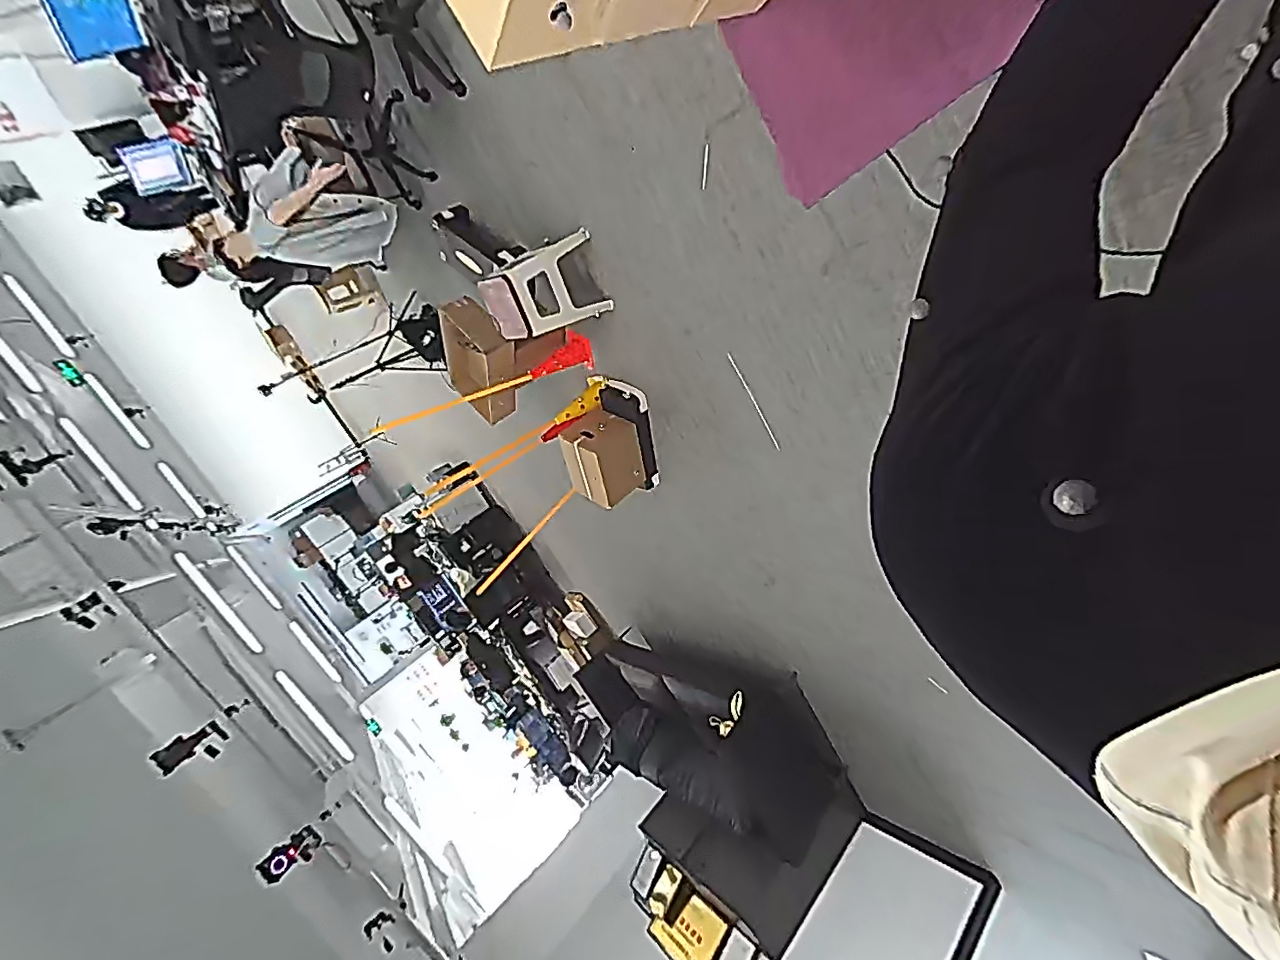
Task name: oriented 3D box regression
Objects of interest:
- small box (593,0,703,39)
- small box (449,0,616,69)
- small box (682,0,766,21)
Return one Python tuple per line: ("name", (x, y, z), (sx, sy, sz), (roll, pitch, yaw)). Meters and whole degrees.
("small box", (0.003, -0.658, 0.612), (0.179, 0.176, 0.168), (57, 153, -10))
("small box", (-0.111, -0.569, 0.537), (0.179, 0.176, 0.168), (58, 153, -9))
("small box", (0.117, -0.746, 0.689), (0.179, 0.176, 0.168), (57, 152, -11))
